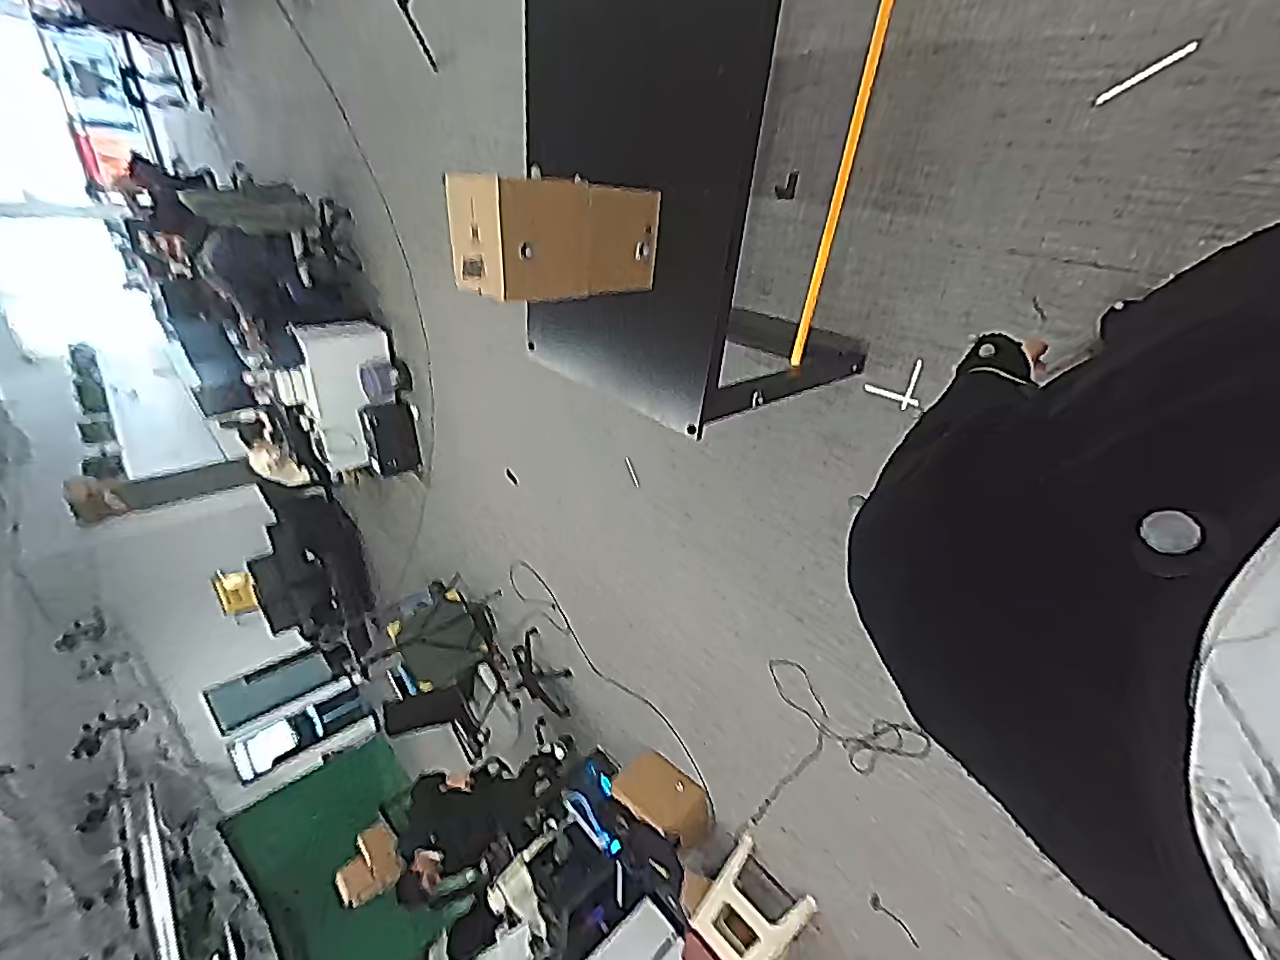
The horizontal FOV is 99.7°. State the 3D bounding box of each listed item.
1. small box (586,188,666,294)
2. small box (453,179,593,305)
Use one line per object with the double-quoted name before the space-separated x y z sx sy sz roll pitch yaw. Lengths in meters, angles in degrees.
"small box" -0.076 -0.454 1.018 0.179 0.176 0.168 29 128 38
"small box" -0.193 -0.404 0.914 0.168 0.176 0.179 28 126 40
